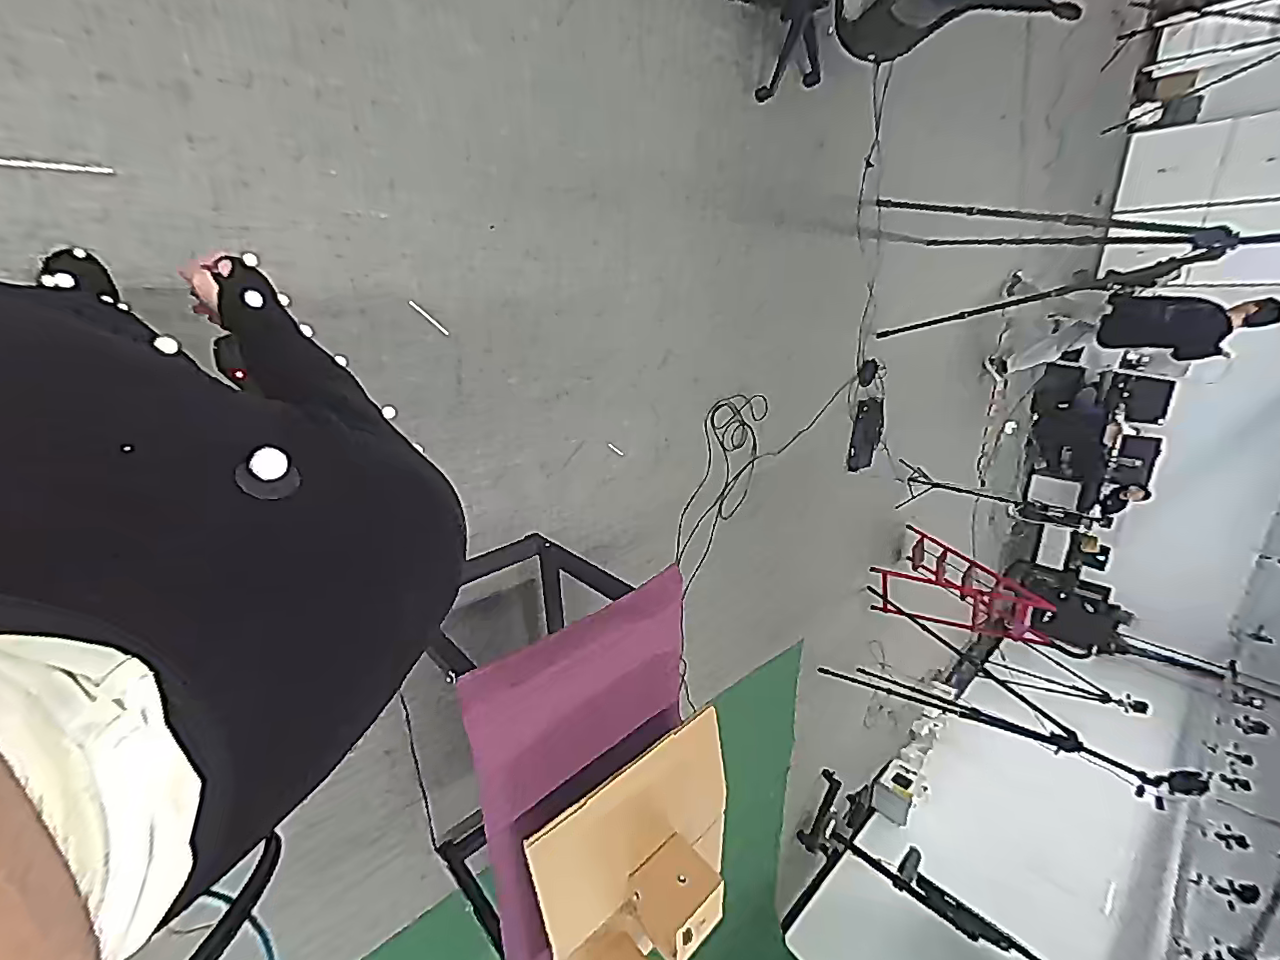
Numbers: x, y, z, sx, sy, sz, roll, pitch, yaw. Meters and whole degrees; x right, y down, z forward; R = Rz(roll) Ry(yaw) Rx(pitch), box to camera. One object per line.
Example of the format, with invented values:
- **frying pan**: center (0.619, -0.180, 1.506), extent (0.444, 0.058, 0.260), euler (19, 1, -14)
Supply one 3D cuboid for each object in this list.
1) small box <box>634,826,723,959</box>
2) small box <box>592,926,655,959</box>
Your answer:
- **small box**: center (0.095, 1.063, 1.406), extent (0.179, 0.176, 0.168), euler (-22, 121, -38)
- **small box**: center (-0.037, 1.308, 1.378), extent (0.179, 0.176, 0.168), euler (-20, 120, -37)
